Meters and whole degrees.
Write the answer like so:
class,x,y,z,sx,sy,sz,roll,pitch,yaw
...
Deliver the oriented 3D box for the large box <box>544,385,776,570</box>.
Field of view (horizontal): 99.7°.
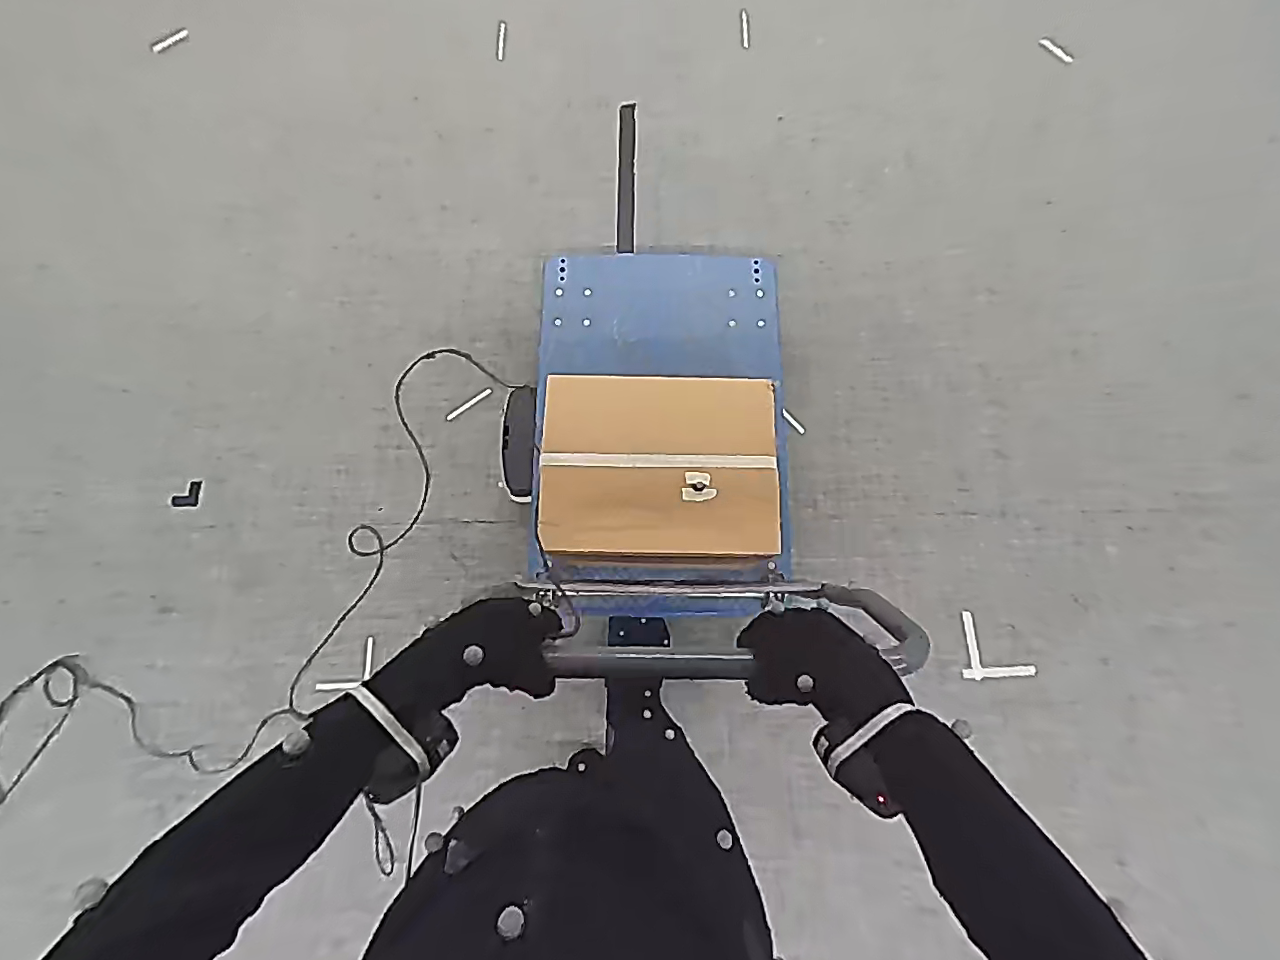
class,x,y,z,sx,sy,sz,roll,pitch,yaw
large box,0.030,0.014,1.092,0.408,0.320,0.320,1,77,-1
